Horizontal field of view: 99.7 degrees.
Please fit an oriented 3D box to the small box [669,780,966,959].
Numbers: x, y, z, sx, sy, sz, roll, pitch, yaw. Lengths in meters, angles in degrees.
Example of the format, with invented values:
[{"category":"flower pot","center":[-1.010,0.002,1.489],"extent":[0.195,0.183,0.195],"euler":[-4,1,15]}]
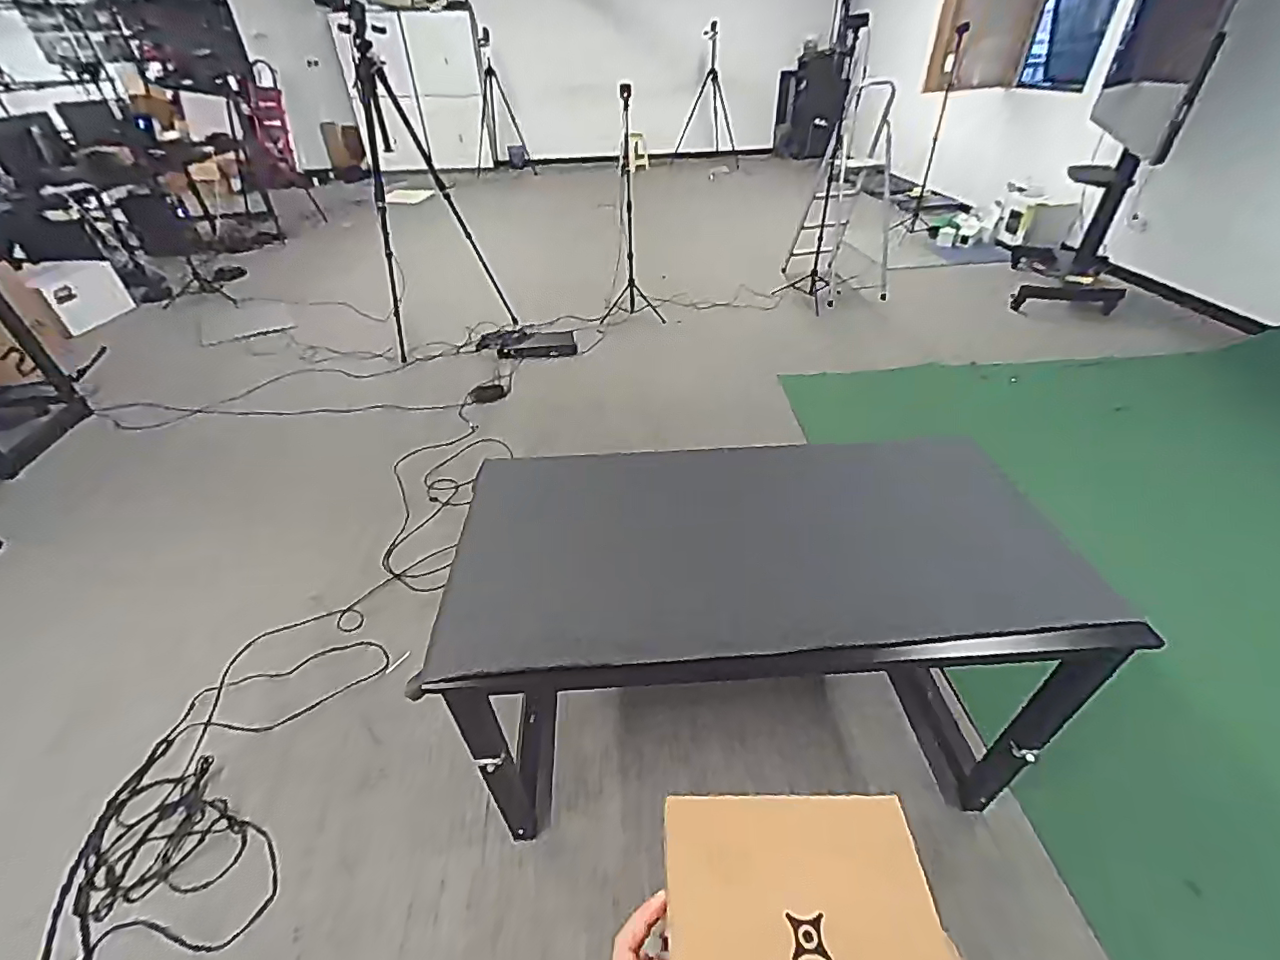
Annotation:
[{"category":"small box","center":[0.104,0.329,0.363],"extent":[0.168,0.176,0.179],"euler":[-1,39,2]}]
